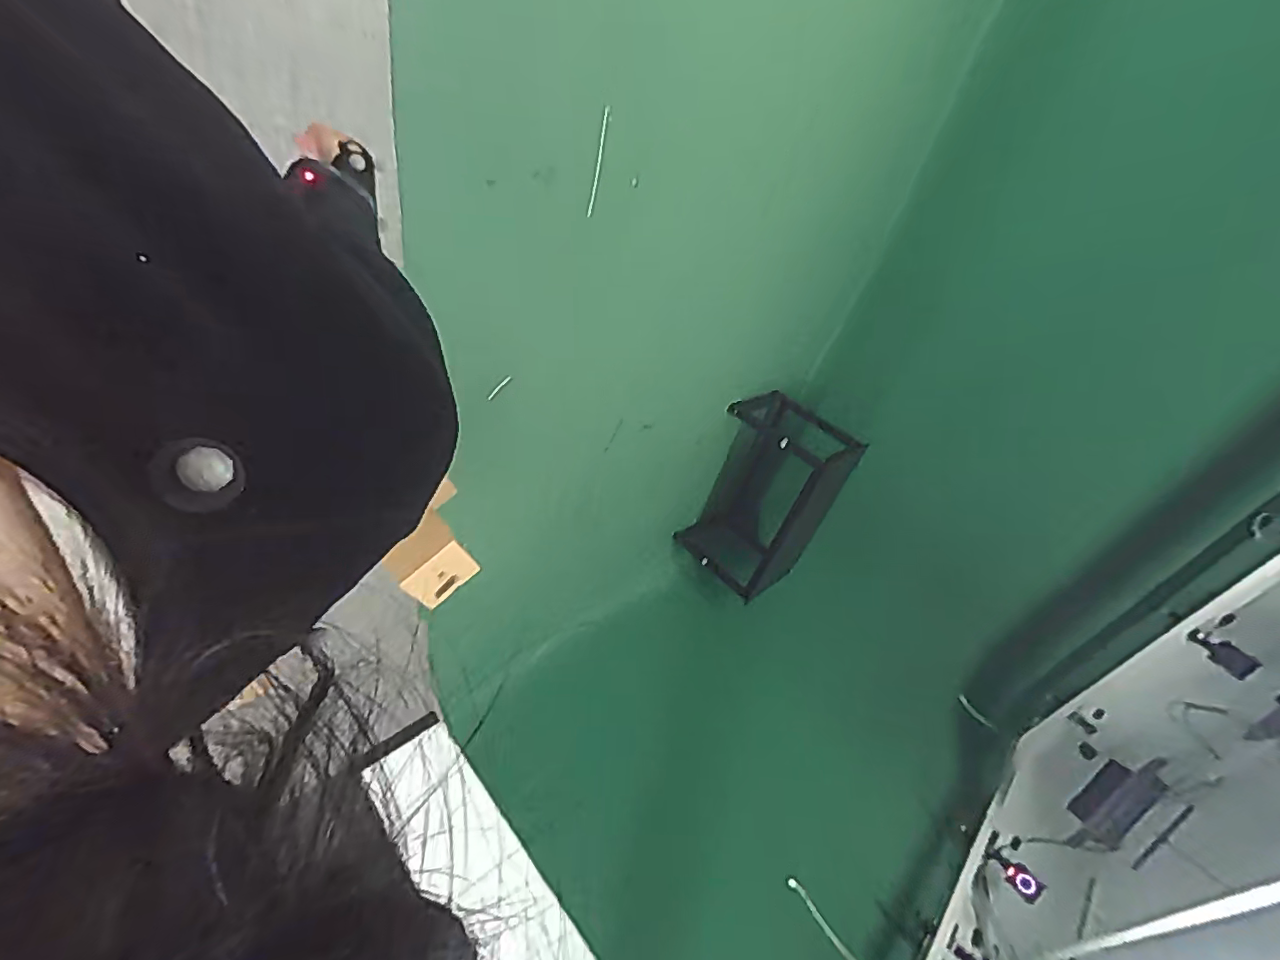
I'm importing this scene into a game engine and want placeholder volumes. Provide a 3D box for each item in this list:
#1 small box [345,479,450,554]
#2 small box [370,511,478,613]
[{"bbox_3d":[-0.676,0.125,1.511,0.168,0.176,0.179,-44,151,-12],"label":"small box"},{"bbox_3d":[-0.566,0.212,1.423,0.168,0.176,0.179,-42,150,-17],"label":"small box"}]
